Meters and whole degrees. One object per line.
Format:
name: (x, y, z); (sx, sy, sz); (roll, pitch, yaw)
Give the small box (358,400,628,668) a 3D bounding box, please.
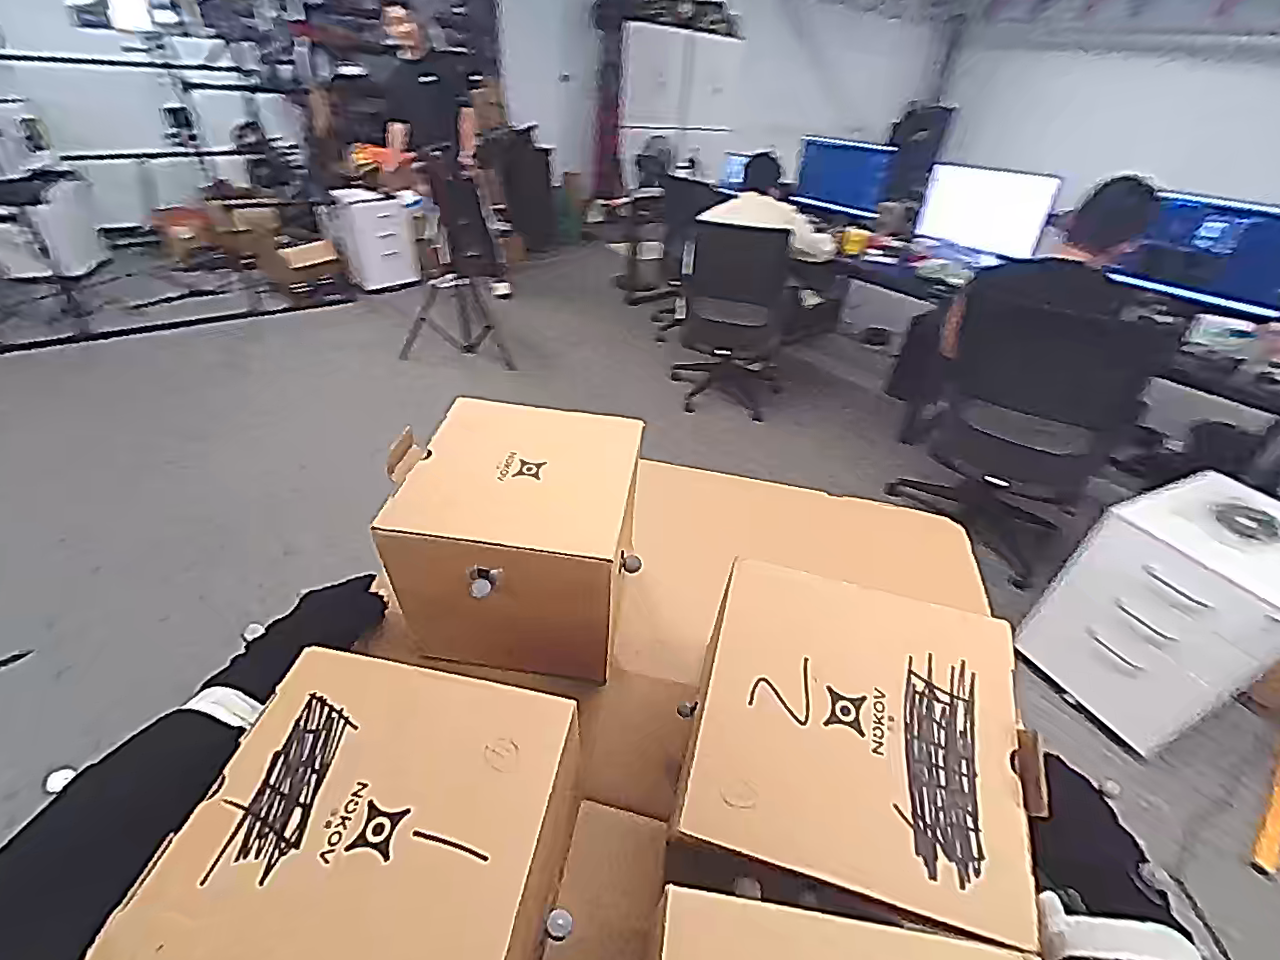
small box: (-0.110, 0.050, 0.489); (0.179, 0.176, 0.168); (6, 42, 3)
